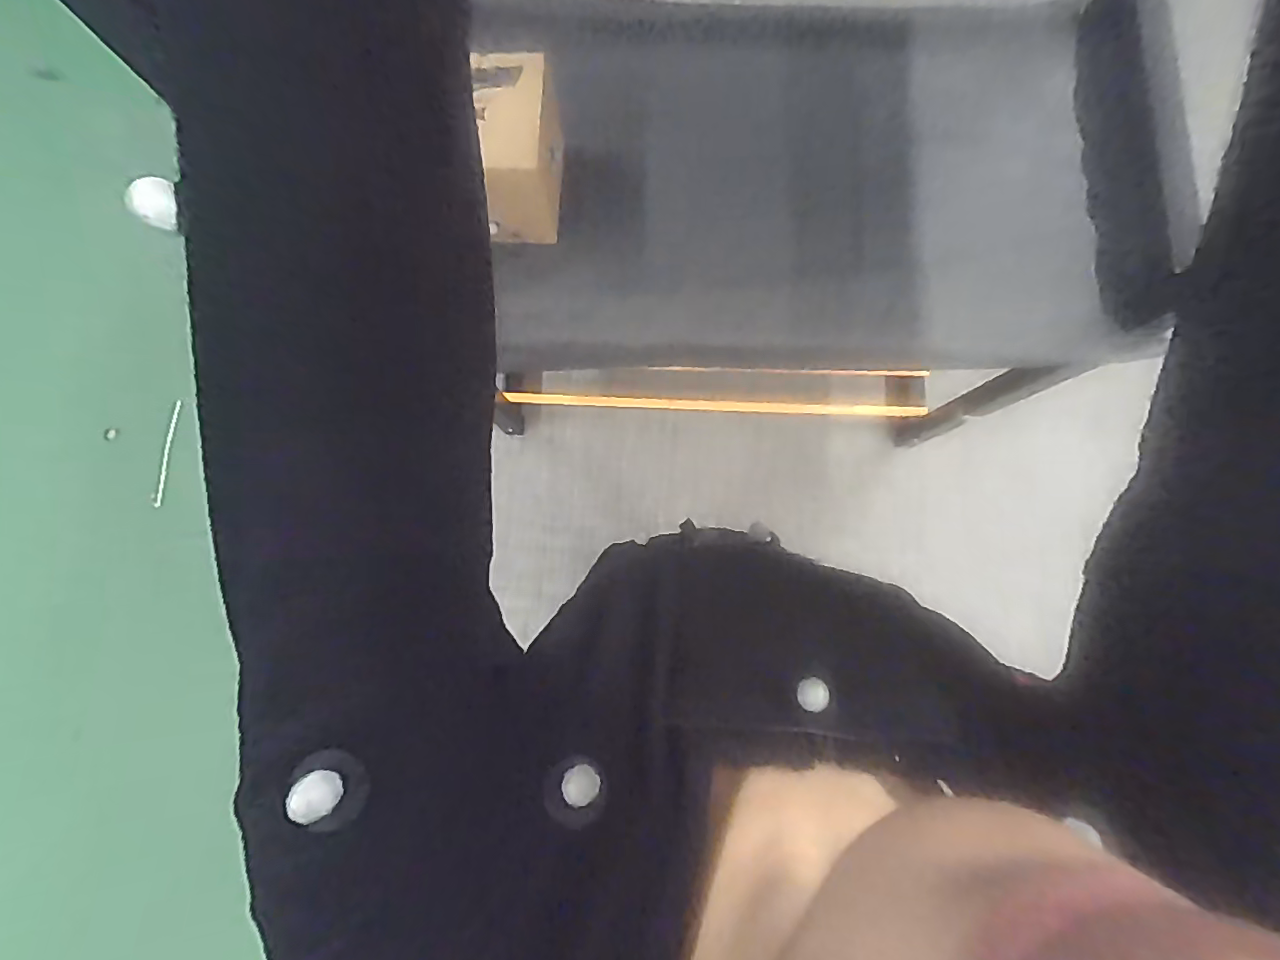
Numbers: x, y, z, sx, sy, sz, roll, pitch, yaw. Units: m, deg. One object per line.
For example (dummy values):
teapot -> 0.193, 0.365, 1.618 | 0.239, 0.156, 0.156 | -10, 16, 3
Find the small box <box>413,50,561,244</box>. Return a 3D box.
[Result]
small box -> -0.211, -0.477, 0.792 | 0.168, 0.176, 0.179 | 2, 81, 0
